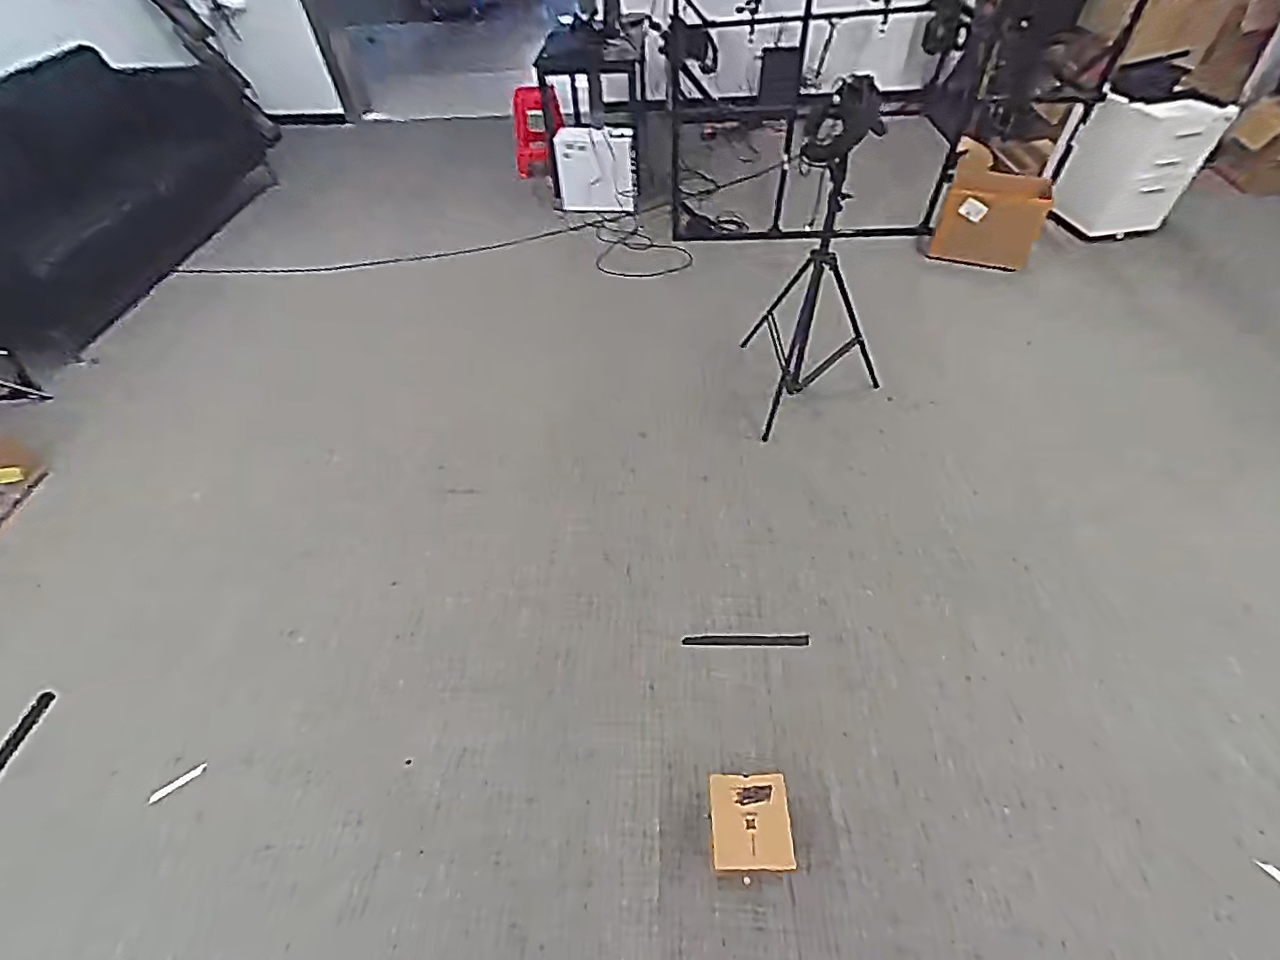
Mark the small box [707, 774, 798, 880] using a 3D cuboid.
[{"bbox_3d":[0.239,0.767,1.193,0.168,0.176,0.179,-1,50,2],"label":"small box"}]
